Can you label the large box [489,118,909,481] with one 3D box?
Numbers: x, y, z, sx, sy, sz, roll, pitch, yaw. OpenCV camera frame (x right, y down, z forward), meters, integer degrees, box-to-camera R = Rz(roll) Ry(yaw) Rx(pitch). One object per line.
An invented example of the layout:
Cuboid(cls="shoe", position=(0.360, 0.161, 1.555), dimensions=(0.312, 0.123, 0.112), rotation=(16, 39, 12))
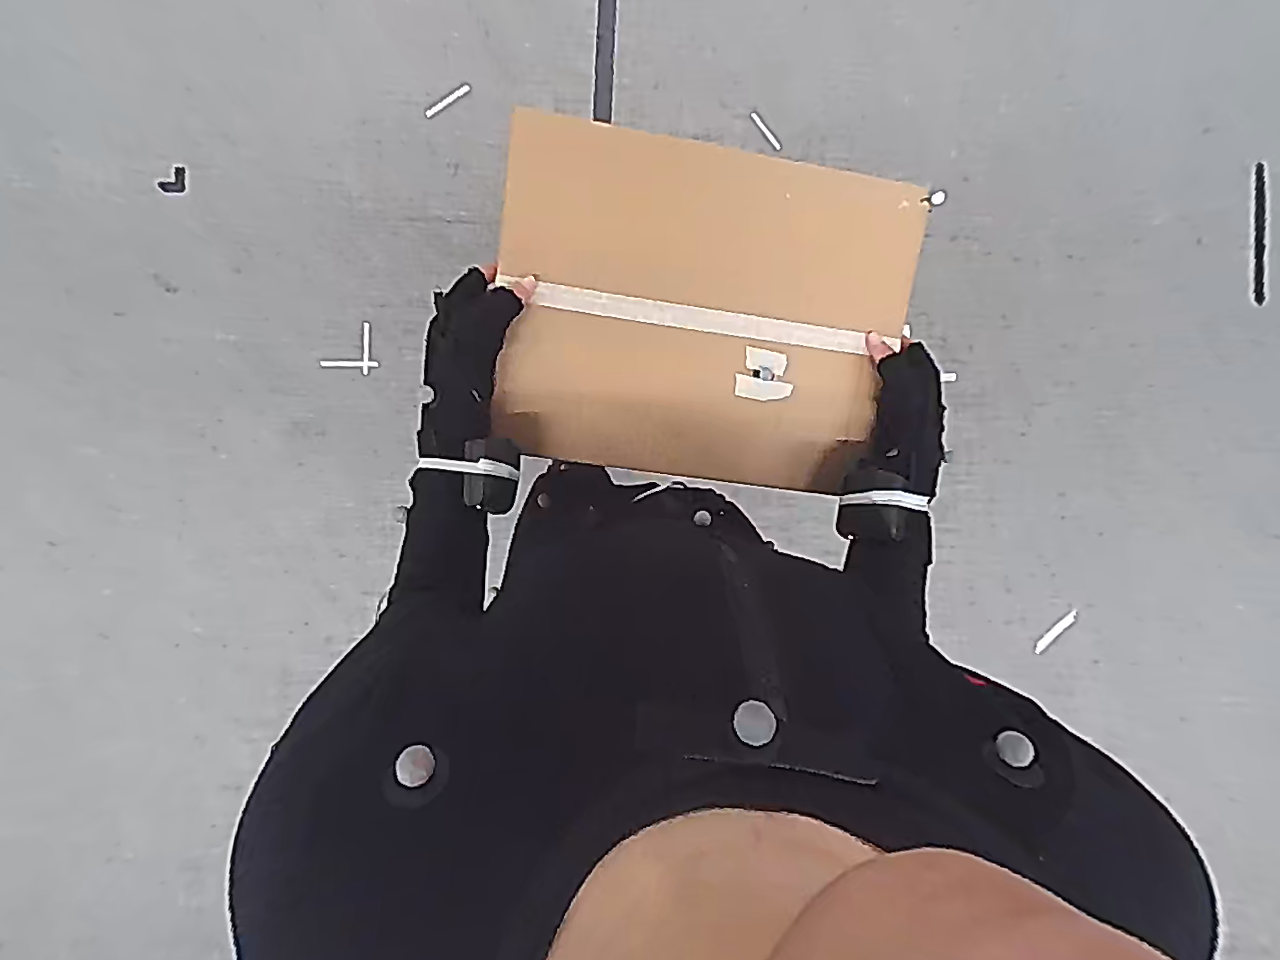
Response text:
Cuboid(cls="large box", position=(0.043, -0.194, 0.694), dimensions=(0.408, 0.320, 0.320), rotation=(7, 100, -7))
